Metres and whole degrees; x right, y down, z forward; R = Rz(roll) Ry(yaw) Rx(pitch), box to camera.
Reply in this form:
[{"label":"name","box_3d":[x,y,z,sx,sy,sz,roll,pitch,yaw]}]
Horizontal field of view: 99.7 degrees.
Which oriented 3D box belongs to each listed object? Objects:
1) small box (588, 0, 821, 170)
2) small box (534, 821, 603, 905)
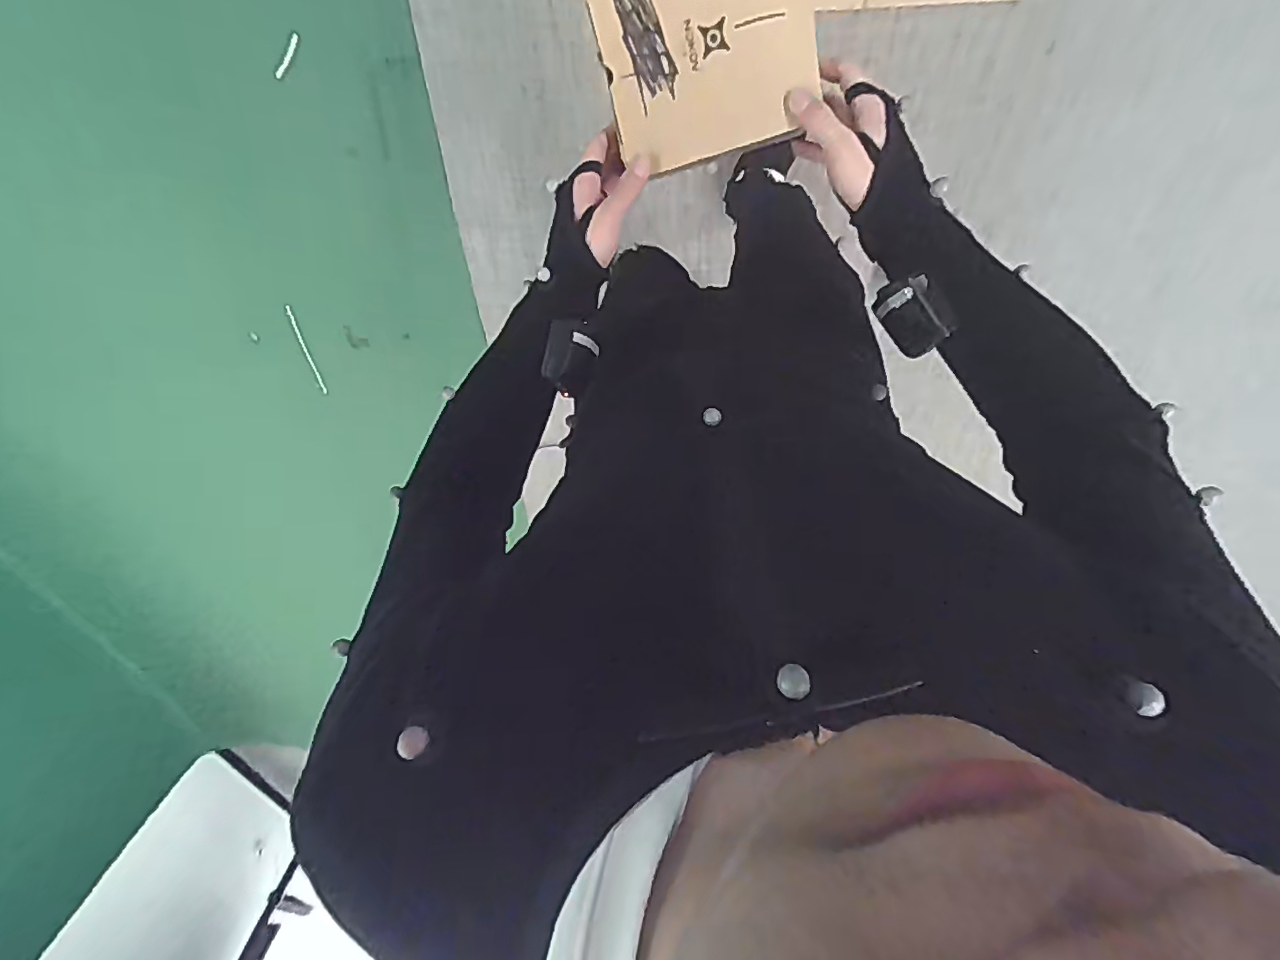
[{"label":"small box","box_3d":[0.063,-0.407,0.513,0.179,0.176,0.168,-10,117,13]},{"label":"small box","box_3d":[-0.217,1.212,1.716,0.179,0.176,0.168,4,129,9]}]
